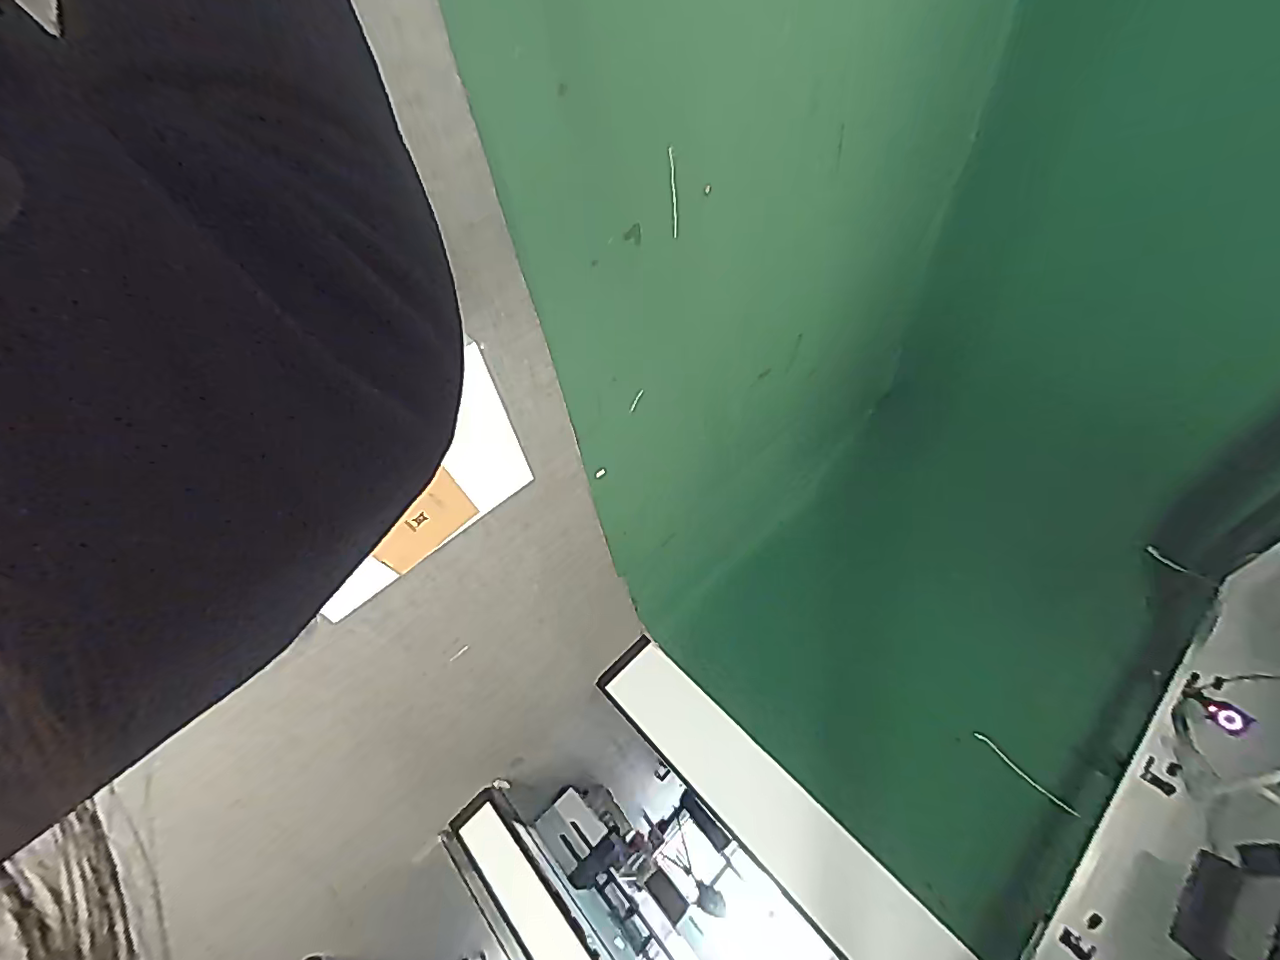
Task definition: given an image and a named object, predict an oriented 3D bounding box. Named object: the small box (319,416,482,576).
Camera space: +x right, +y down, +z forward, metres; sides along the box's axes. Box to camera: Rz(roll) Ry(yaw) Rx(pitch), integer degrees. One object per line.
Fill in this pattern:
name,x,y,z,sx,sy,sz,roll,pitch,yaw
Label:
small box,-0.414,0.025,0.929,0.179,0.176,0.168,-43,149,-16
